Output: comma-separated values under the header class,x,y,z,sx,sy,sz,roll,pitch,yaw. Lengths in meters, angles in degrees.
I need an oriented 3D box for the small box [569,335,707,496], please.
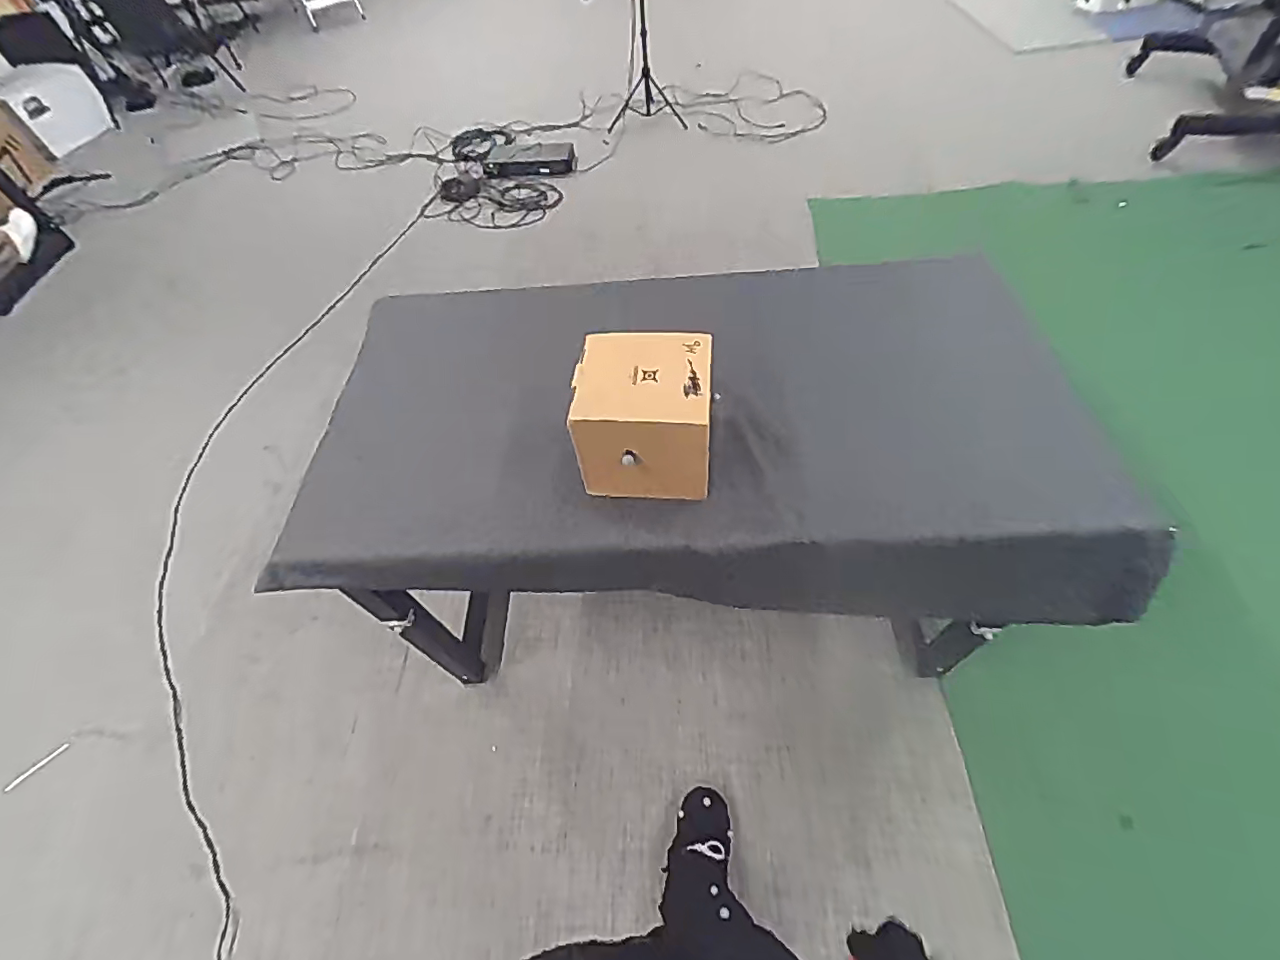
class,x,y,z,sx,sy,sz,roll,pitch,yaw
small box,0.007,-0.088,0.778,0.179,0.176,0.168,0,53,5
